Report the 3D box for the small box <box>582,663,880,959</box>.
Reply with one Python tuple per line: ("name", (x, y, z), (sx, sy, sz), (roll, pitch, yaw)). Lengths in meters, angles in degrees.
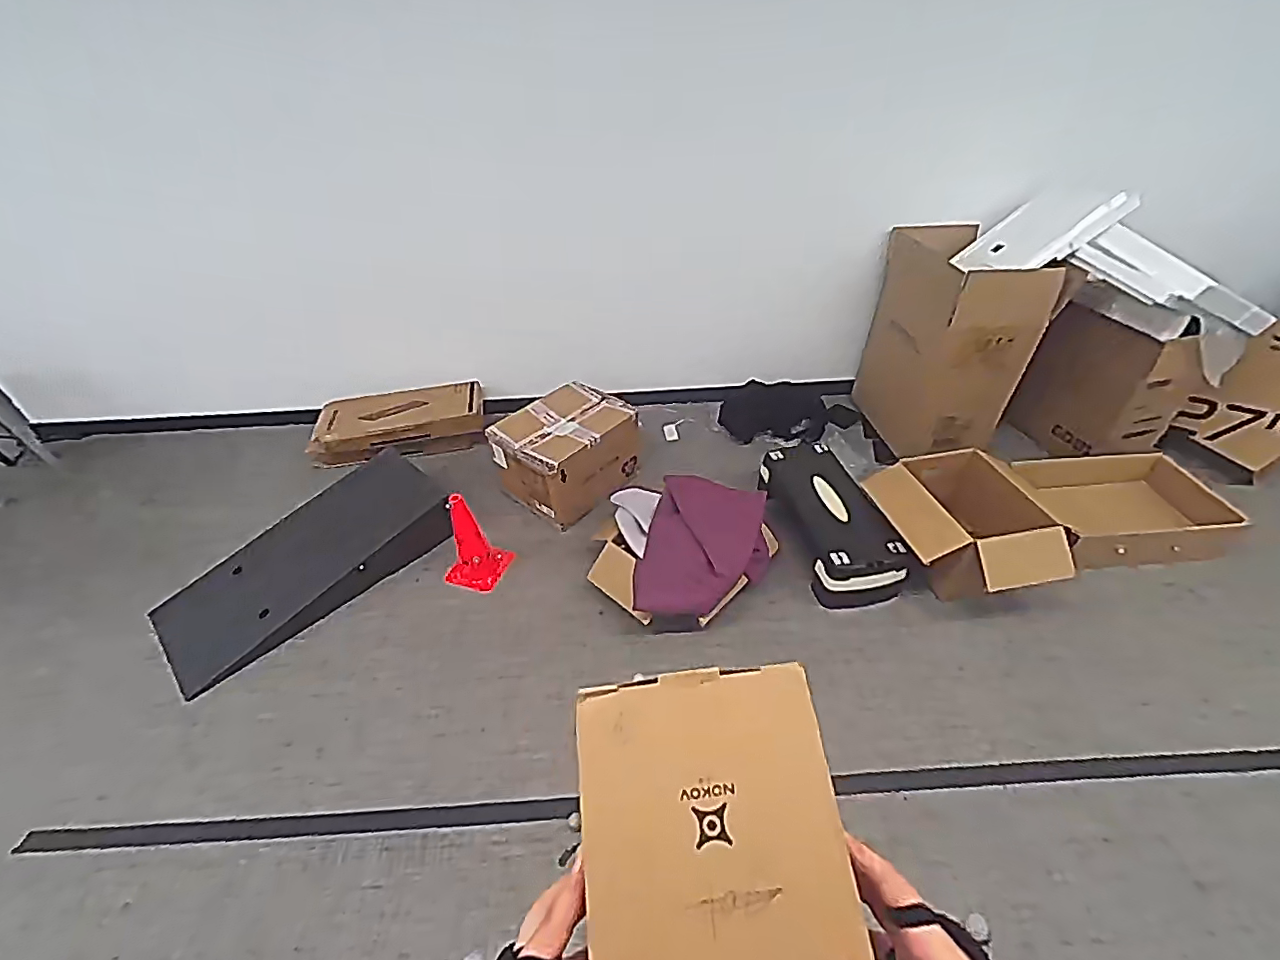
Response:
("small box", (0.048, 0.249, 0.409), (0.168, 0.176, 0.179), (-6, 63, -2))
